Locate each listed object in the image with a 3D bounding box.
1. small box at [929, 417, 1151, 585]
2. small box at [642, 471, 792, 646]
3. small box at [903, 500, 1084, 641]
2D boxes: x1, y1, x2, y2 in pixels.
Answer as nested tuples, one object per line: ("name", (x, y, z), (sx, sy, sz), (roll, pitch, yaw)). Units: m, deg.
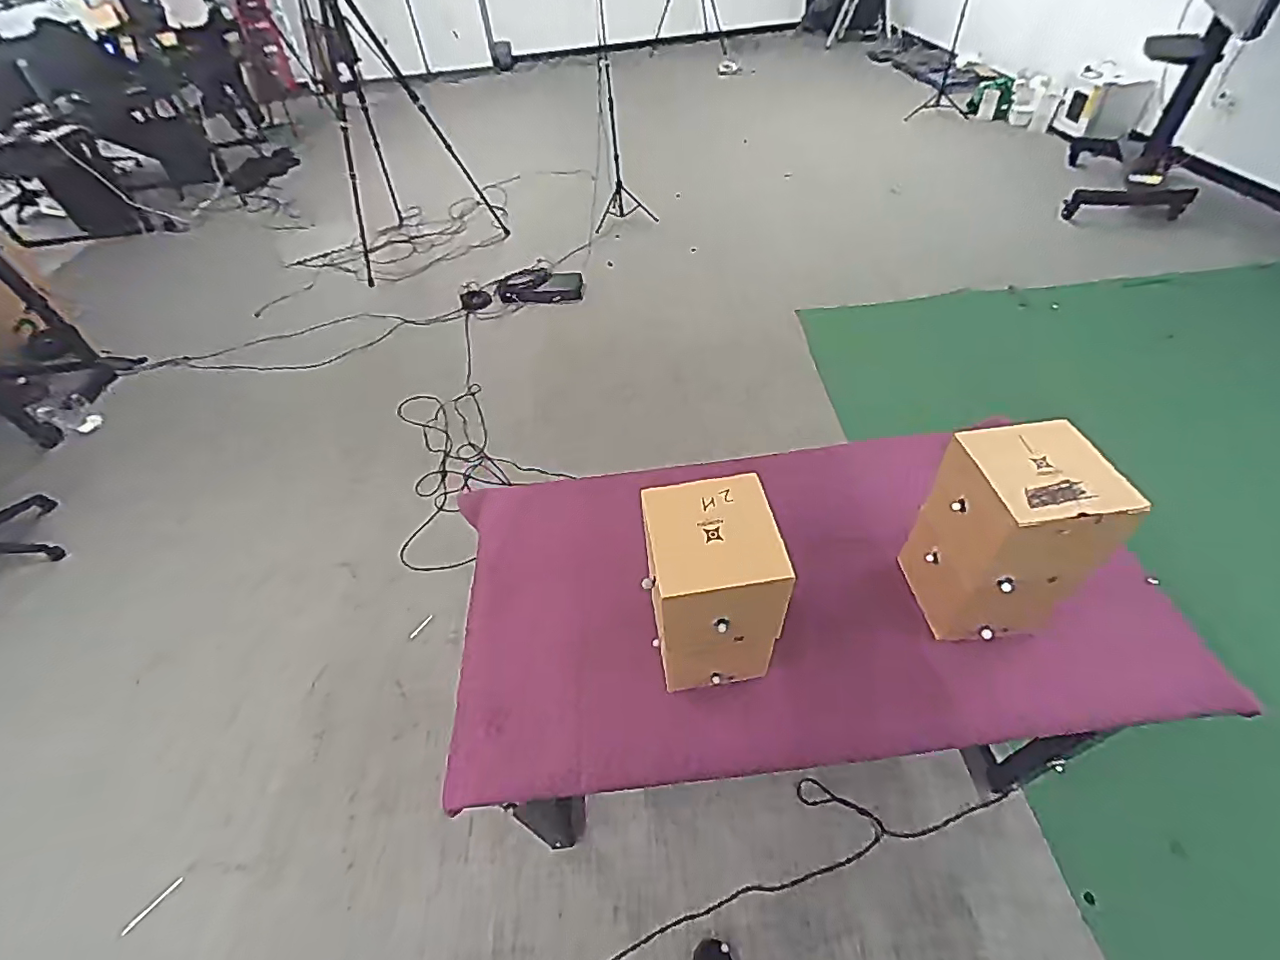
("small box", (0.548, 0.037, 0.774), (0.168, 0.176, 0.179), (-7, 46, 2))
("small box", (0.100, 0.116, 0.753), (0.168, 0.176, 0.179), (-8, 48, -2))
("small box", (0.564, 0.144, 0.896), (0.168, 0.176, 0.179), (-7, 47, 3))
